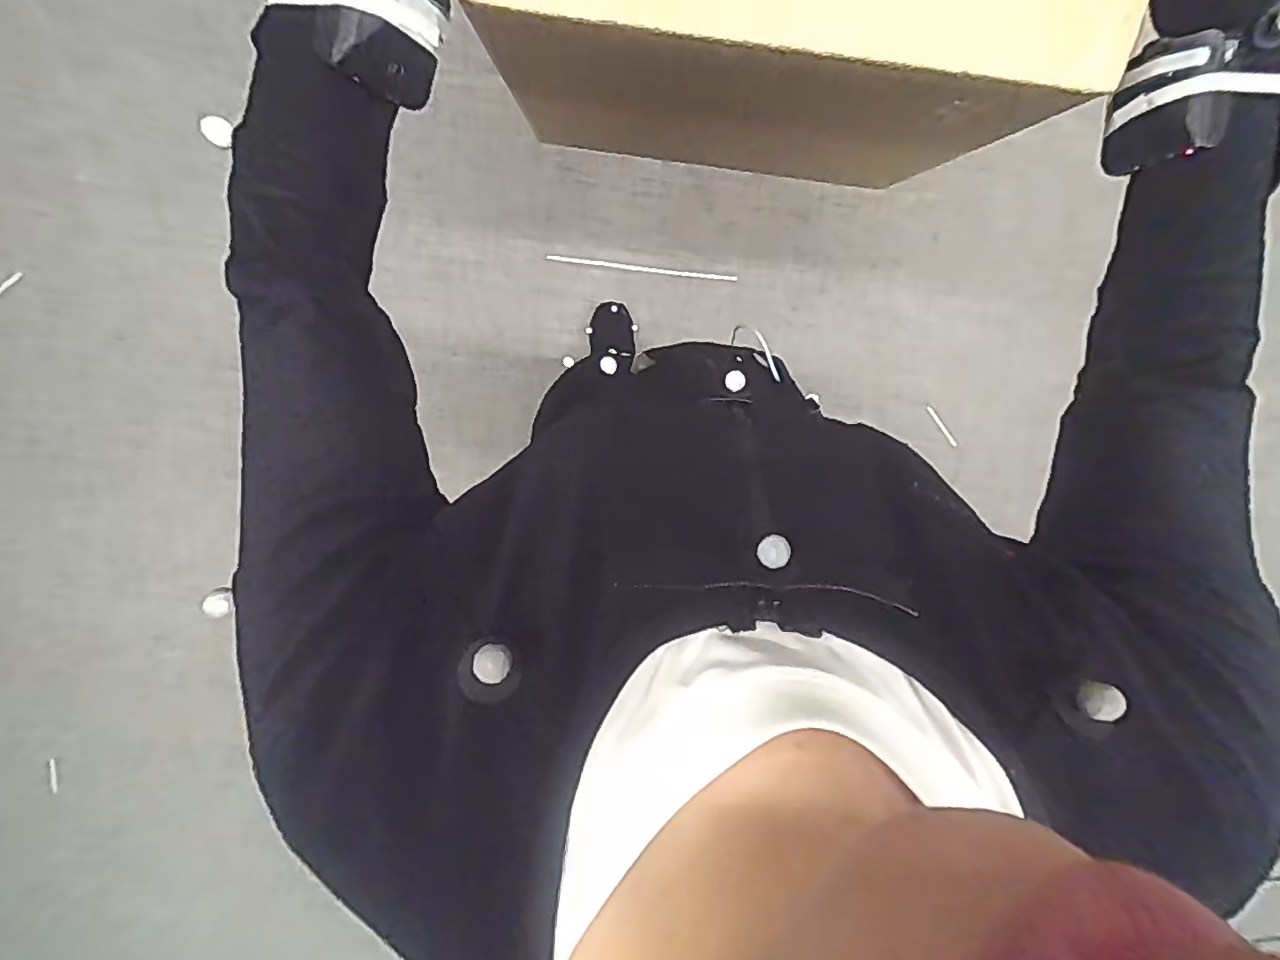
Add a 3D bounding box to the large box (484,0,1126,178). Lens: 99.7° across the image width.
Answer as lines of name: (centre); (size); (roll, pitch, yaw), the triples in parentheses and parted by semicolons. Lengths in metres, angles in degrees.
large box: (0.104, -0.460, 0.425); (0.408, 0.320, 0.320); (5, 109, -4)
